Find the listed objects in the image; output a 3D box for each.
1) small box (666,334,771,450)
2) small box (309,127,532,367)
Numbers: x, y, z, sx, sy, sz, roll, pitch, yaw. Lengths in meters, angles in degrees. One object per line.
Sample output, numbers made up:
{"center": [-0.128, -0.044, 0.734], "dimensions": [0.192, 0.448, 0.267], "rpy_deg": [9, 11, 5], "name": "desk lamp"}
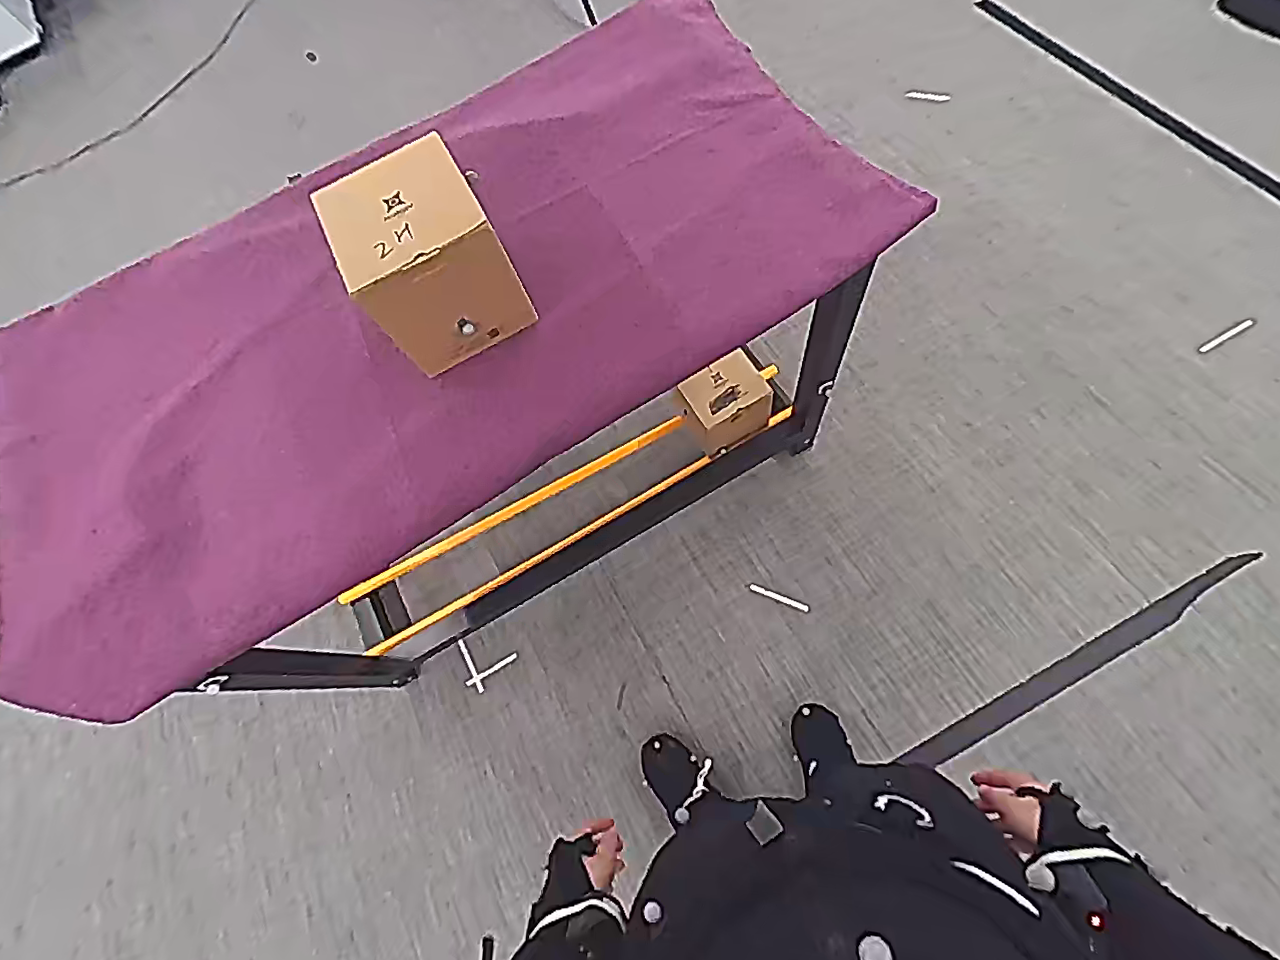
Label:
{"center": [0.178, -0.187, 1.225], "dimensions": [0.168, 0.176, 0.179], "rpy_deg": [-30, 68, -2], "name": "small box"}
{"center": [-0.257, -0.274, 0.663], "dimensions": [0.168, 0.176, 0.179], "rpy_deg": [-29, 68, -2], "name": "small box"}
